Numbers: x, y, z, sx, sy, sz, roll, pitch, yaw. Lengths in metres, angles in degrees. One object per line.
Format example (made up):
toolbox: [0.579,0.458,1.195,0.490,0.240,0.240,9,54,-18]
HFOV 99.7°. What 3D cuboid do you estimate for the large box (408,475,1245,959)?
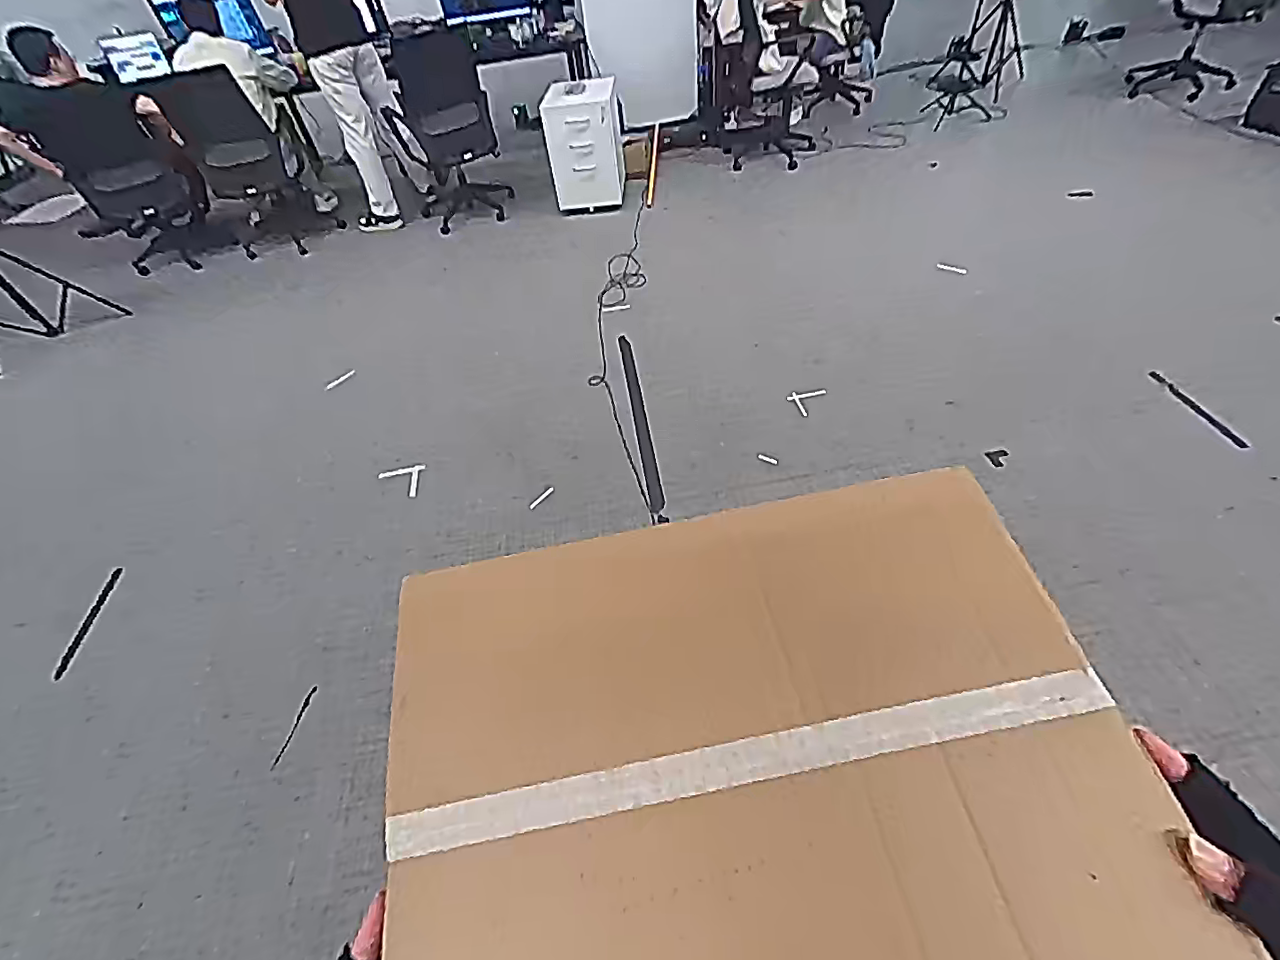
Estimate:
large box: [0.076,0.242,0.439,0.408,0.320,0.320,-12,58,-1]
